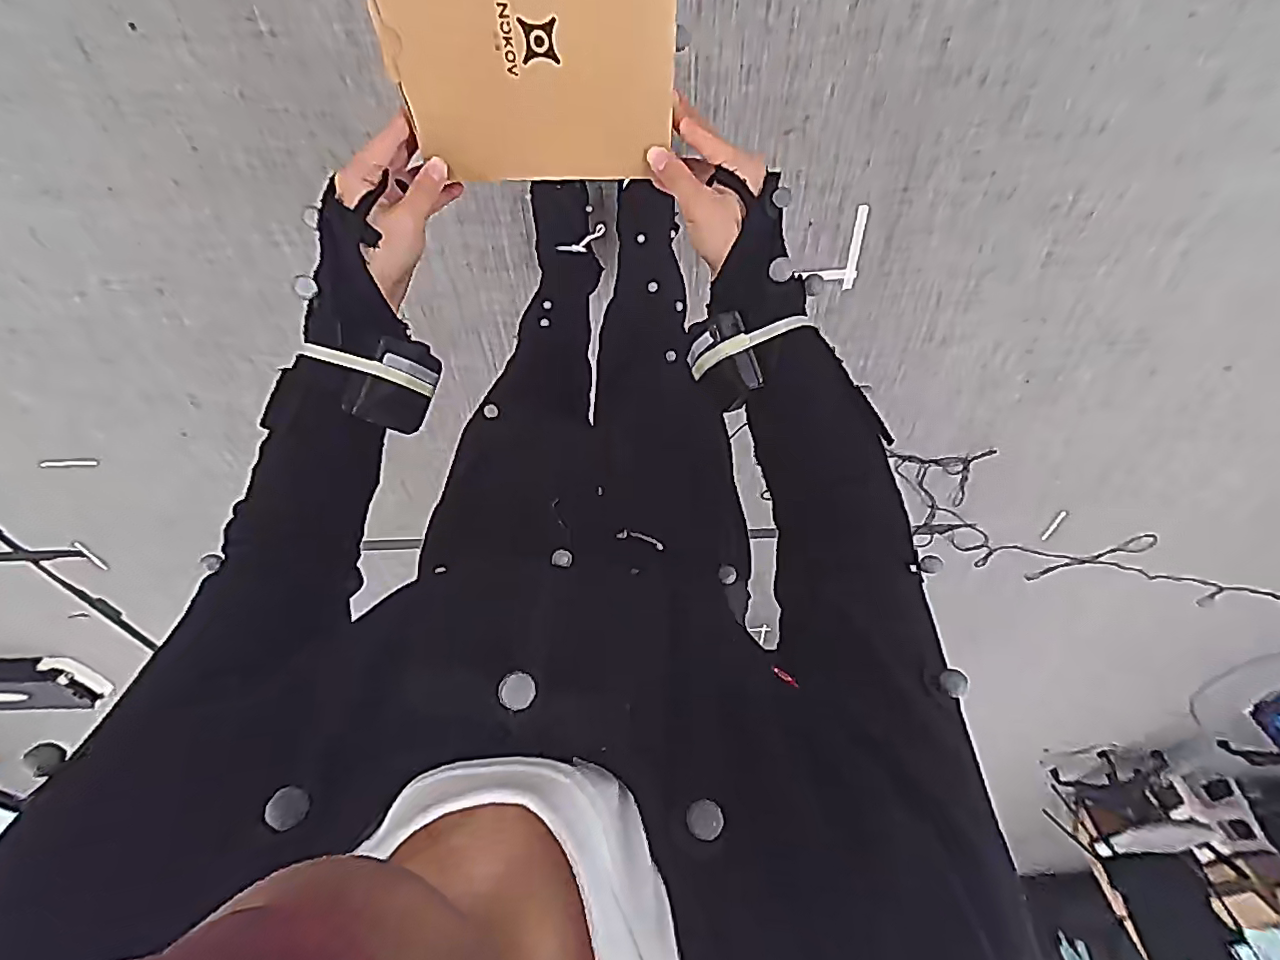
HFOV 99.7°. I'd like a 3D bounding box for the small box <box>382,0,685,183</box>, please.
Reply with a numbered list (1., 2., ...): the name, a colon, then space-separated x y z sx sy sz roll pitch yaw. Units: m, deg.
1. small box: -0.064 -0.331 0.373 0.179 0.176 0.168 -1 147 -1
